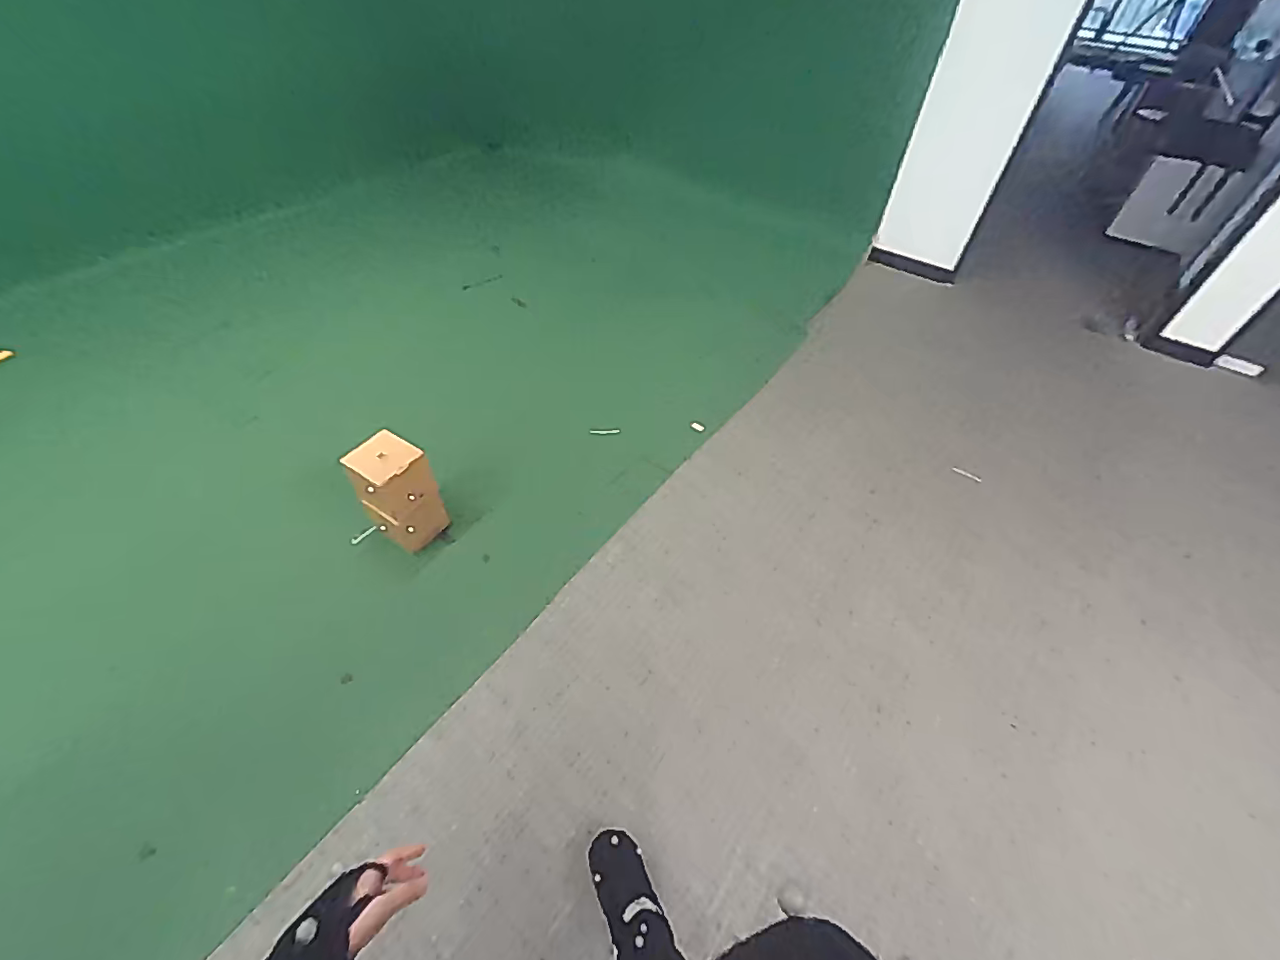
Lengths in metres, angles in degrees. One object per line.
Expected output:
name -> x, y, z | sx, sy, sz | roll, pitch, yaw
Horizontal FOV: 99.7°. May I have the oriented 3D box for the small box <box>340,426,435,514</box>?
small box -> -0.754, -0.027, 1.629 | 0.179, 0.176, 0.168 | 27, 53, 19
